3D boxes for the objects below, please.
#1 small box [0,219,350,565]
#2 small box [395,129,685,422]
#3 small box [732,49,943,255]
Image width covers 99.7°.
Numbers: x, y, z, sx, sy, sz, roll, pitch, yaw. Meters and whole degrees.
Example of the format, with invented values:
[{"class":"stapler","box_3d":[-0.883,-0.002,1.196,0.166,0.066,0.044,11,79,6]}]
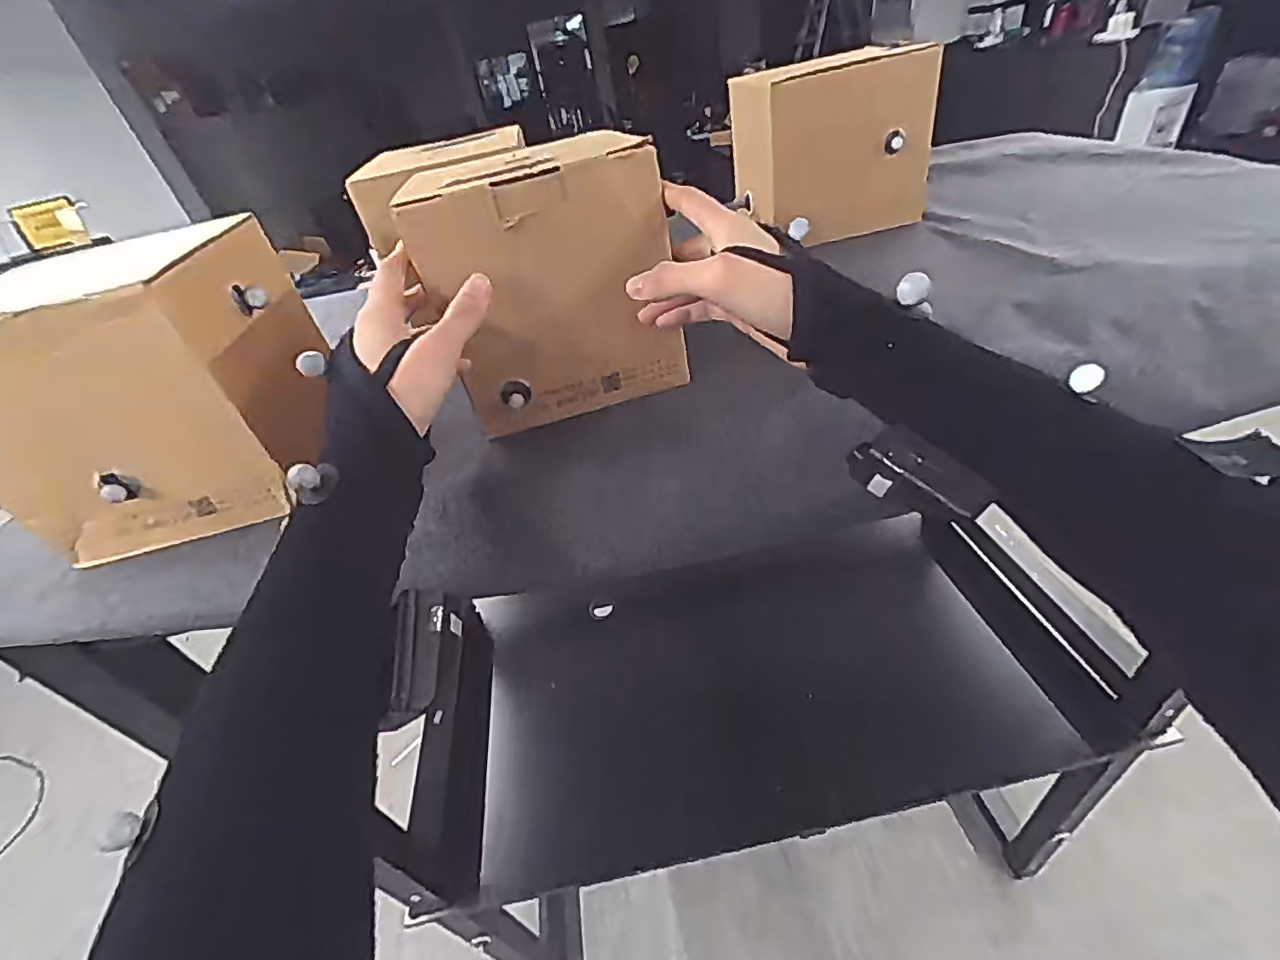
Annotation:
[{"class":"small box","box_3d":[-0.342,-0.069,0.395,0.168,0.176,0.179,-16,39,-4]},{"class":"small box","box_3d":[-0.071,-0.162,0.435,0.168,0.176,0.179,-16,36,-5]},{"class":"small box","box_3d":[0.214,-0.385,0.636,0.179,0.176,0.168,-12,37,0]}]
